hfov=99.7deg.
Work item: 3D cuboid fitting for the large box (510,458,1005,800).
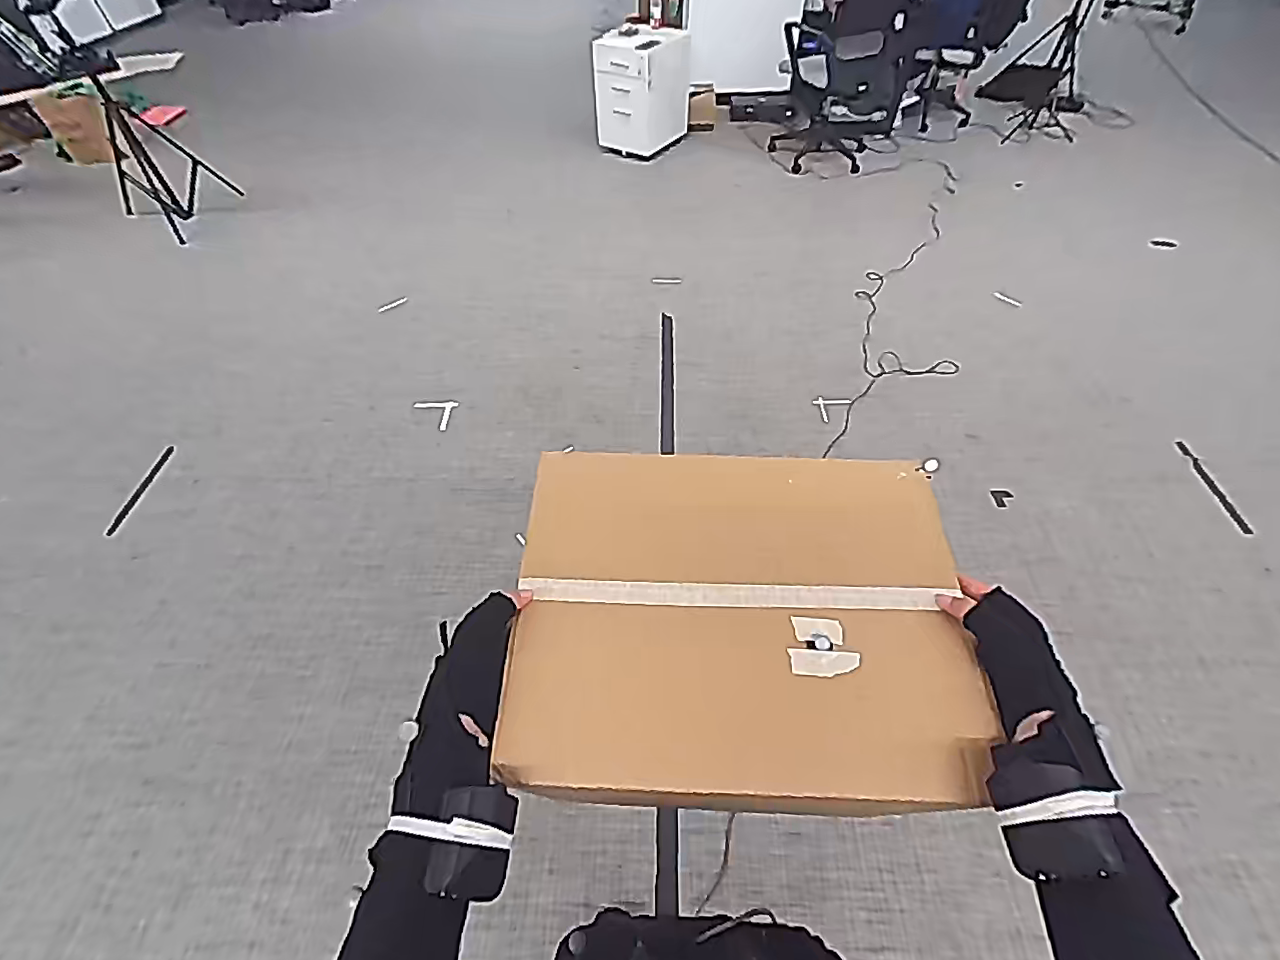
[{"bbox_3d":[0.094,0.188,0.632,0.408,0.320,0.320,2,58,1],"label":"large box"}]
